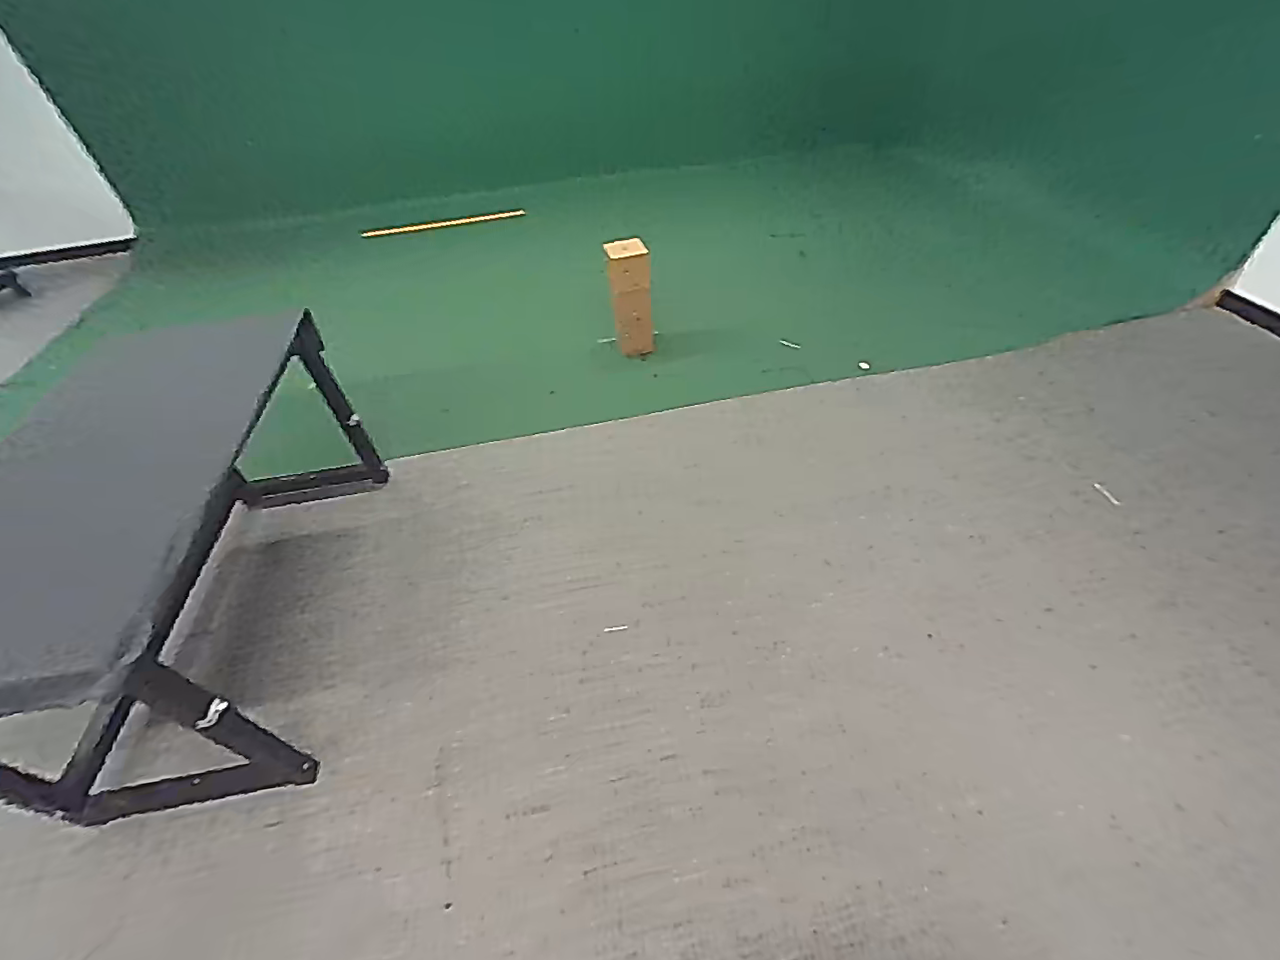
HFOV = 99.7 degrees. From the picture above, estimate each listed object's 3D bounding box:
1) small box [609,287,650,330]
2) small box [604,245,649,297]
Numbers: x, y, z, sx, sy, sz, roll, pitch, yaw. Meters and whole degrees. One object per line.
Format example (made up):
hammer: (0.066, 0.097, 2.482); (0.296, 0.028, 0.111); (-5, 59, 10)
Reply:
small box: (-0.050, -0.847, 2.616); (0.168, 0.176, 0.179); (-13, 45, -6)
small box: (-0.061, -0.960, 2.499); (0.168, 0.176, 0.179); (-15, 45, -8)
